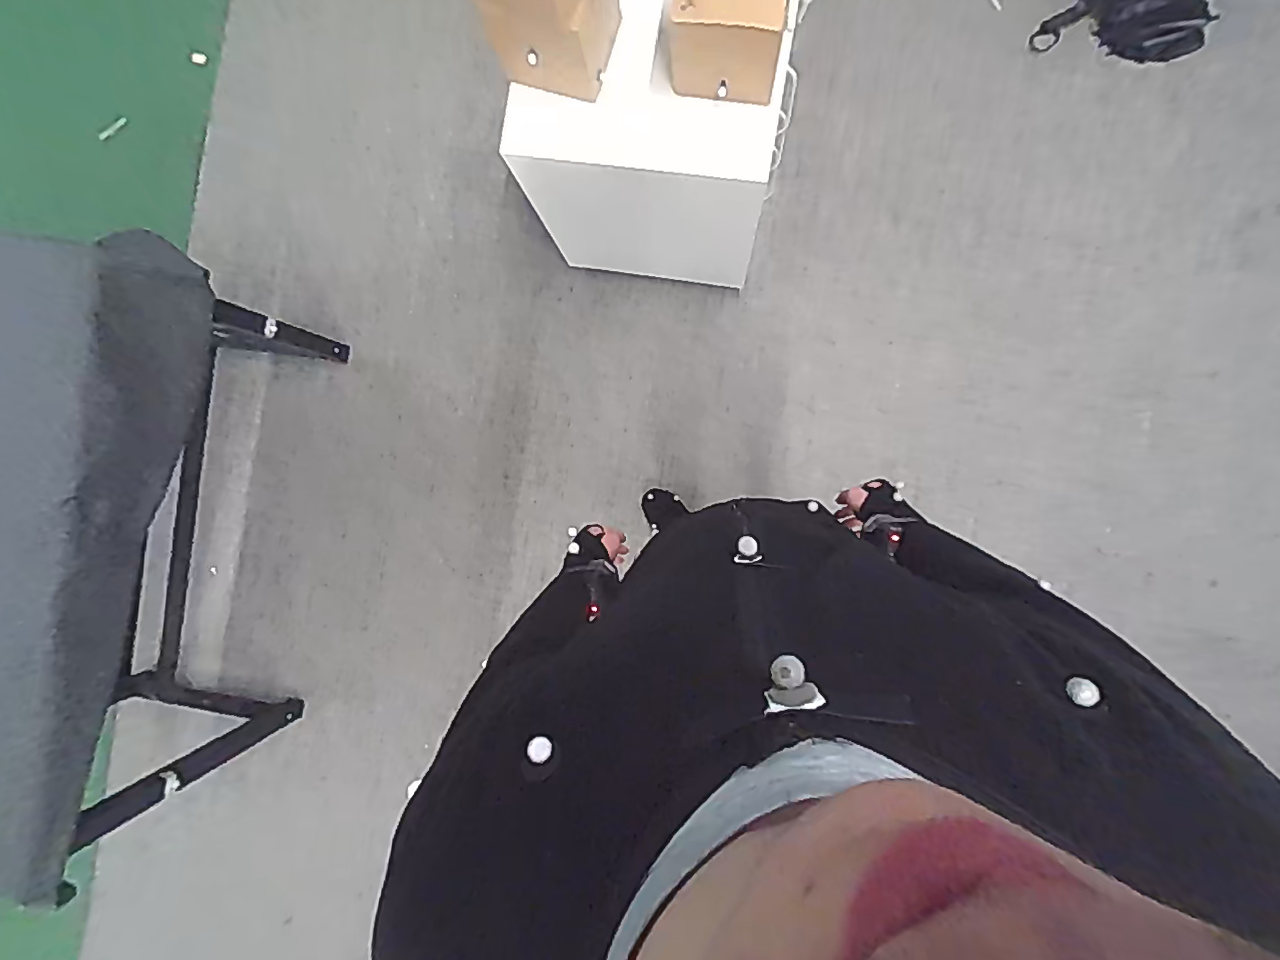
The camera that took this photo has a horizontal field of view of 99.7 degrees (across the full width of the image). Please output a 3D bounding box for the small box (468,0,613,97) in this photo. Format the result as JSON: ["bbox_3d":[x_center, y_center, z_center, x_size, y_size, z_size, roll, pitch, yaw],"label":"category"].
[{"bbox_3d":[-0.154,-0.790,0.907,0.179,0.176,0.168,18,91,4],"label":"small box"}]

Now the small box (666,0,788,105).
[{"bbox_3d":[0.144,-0.755,0.884,0.179,0.176,0.168,11,91,4],"label":"small box"}]
